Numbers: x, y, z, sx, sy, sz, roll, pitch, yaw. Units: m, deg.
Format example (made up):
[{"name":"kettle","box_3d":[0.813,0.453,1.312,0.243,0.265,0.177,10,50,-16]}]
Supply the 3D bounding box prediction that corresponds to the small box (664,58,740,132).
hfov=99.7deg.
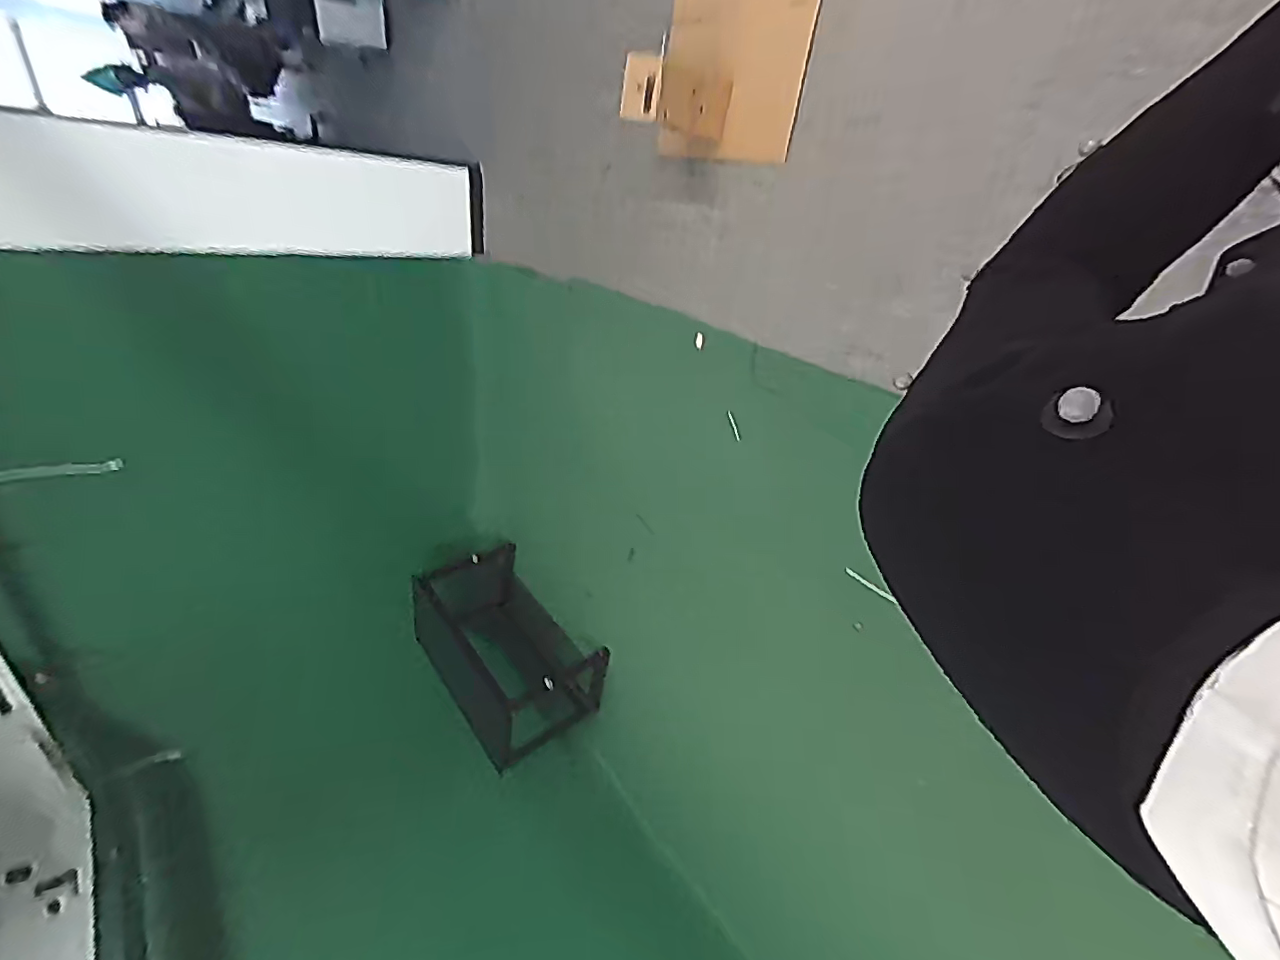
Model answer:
[{"name":"small box","box_3d":[0.210,-1.287,1.814,0.168,0.176,0.179,39,131,36]}]
